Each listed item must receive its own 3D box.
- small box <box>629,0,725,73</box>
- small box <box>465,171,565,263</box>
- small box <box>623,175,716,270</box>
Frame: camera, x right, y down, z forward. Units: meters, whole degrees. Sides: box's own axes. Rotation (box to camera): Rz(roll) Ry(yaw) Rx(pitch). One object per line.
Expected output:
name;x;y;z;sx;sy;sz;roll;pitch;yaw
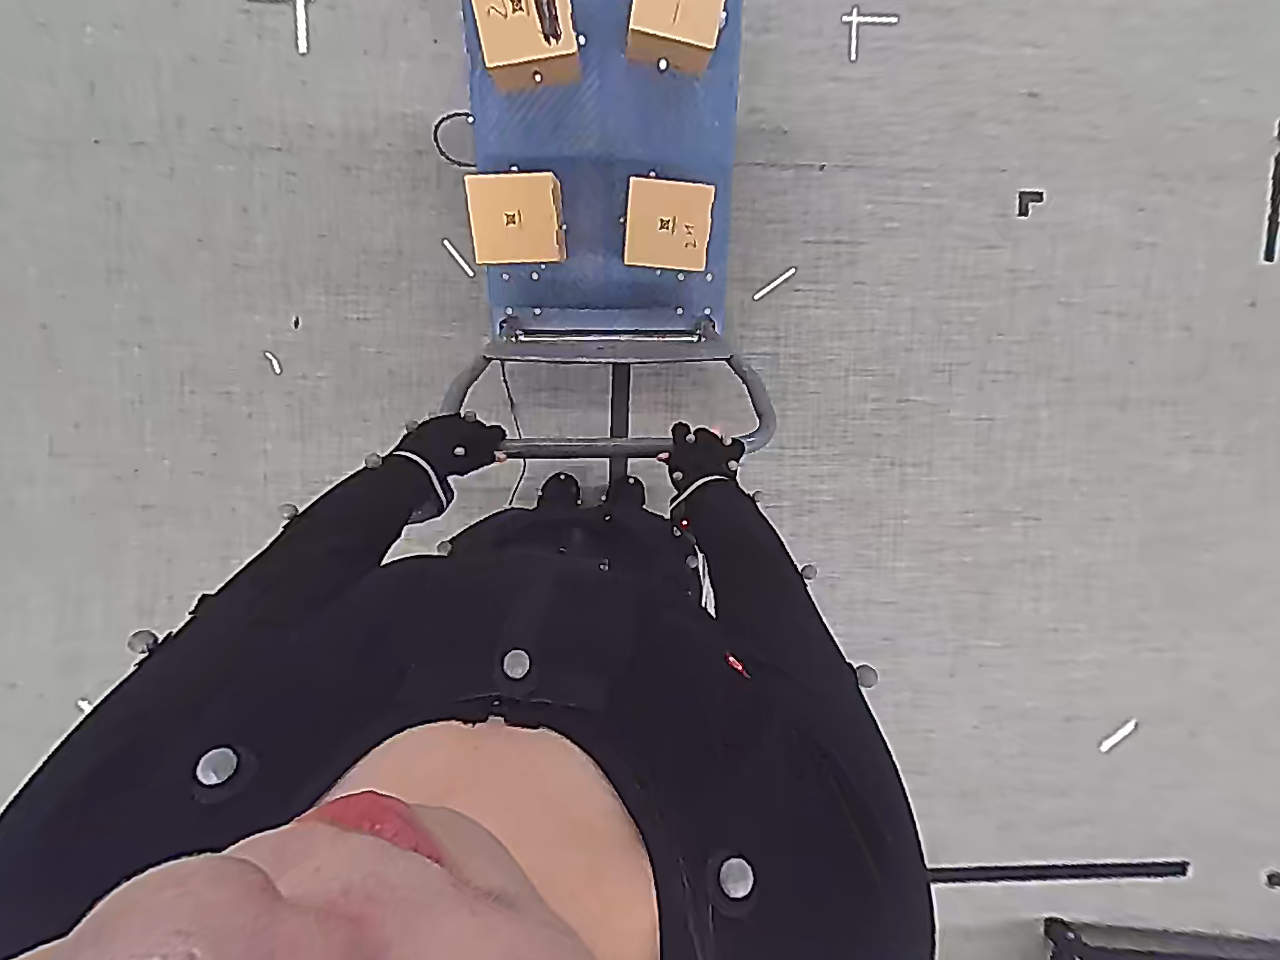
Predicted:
small box;0.073;-0.924;1.036;0.168;0.176;0.179;9;113;-6
small box;-0.261;-0.562;1.169;0.179;0.176;0.168;-4;112;-3
small box;0.057;-0.557;1.185;0.179;0.176;0.168;4;113;-4
